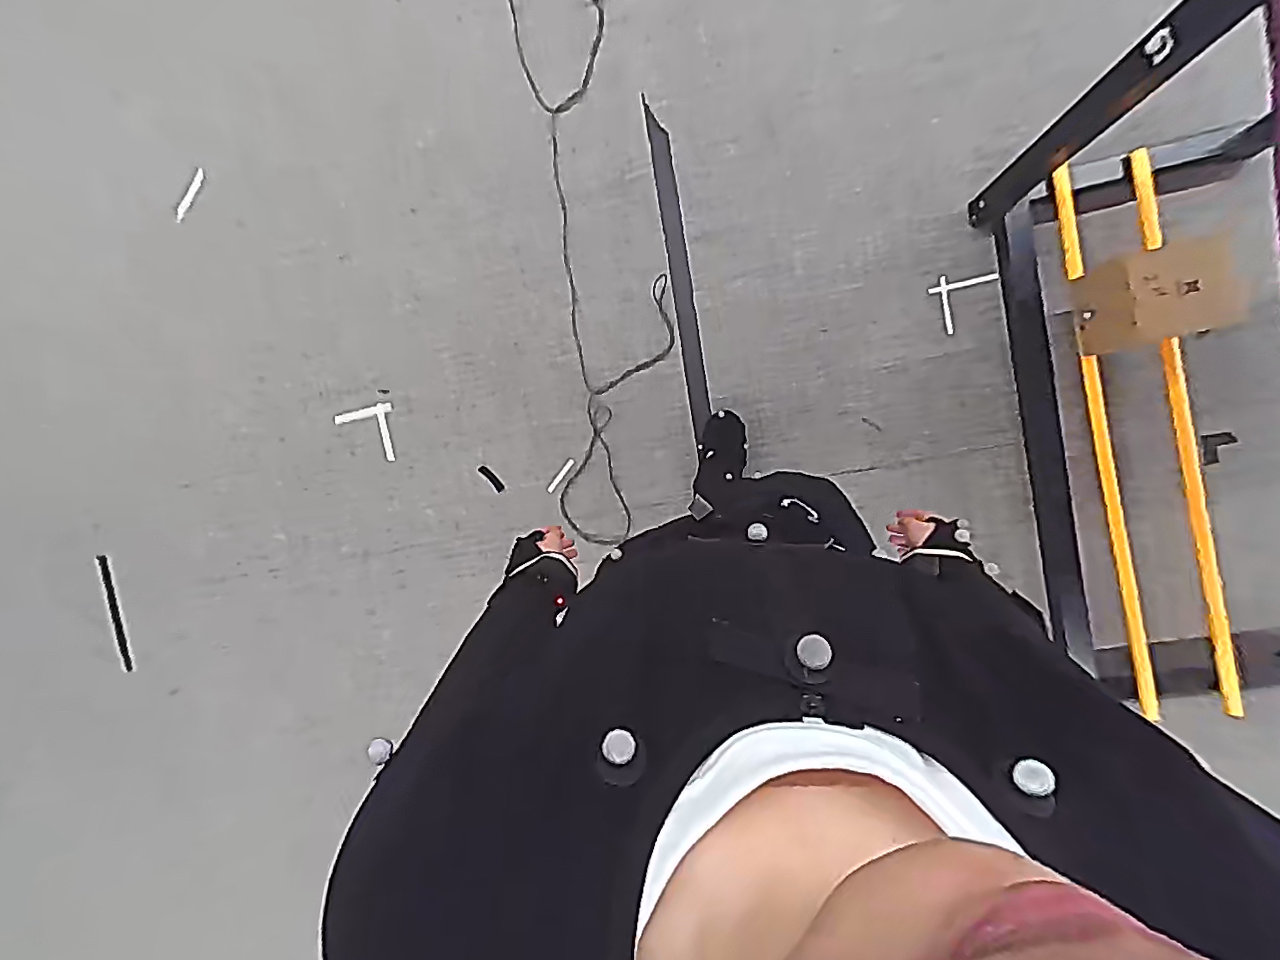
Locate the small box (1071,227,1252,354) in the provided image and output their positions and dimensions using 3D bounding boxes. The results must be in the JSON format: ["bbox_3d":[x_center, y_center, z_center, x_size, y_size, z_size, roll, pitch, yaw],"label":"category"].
[{"bbox_3d":[0.985,-0.352,1.037,0.179,0.176,0.168,-13,92,10],"label":"small box"}]
